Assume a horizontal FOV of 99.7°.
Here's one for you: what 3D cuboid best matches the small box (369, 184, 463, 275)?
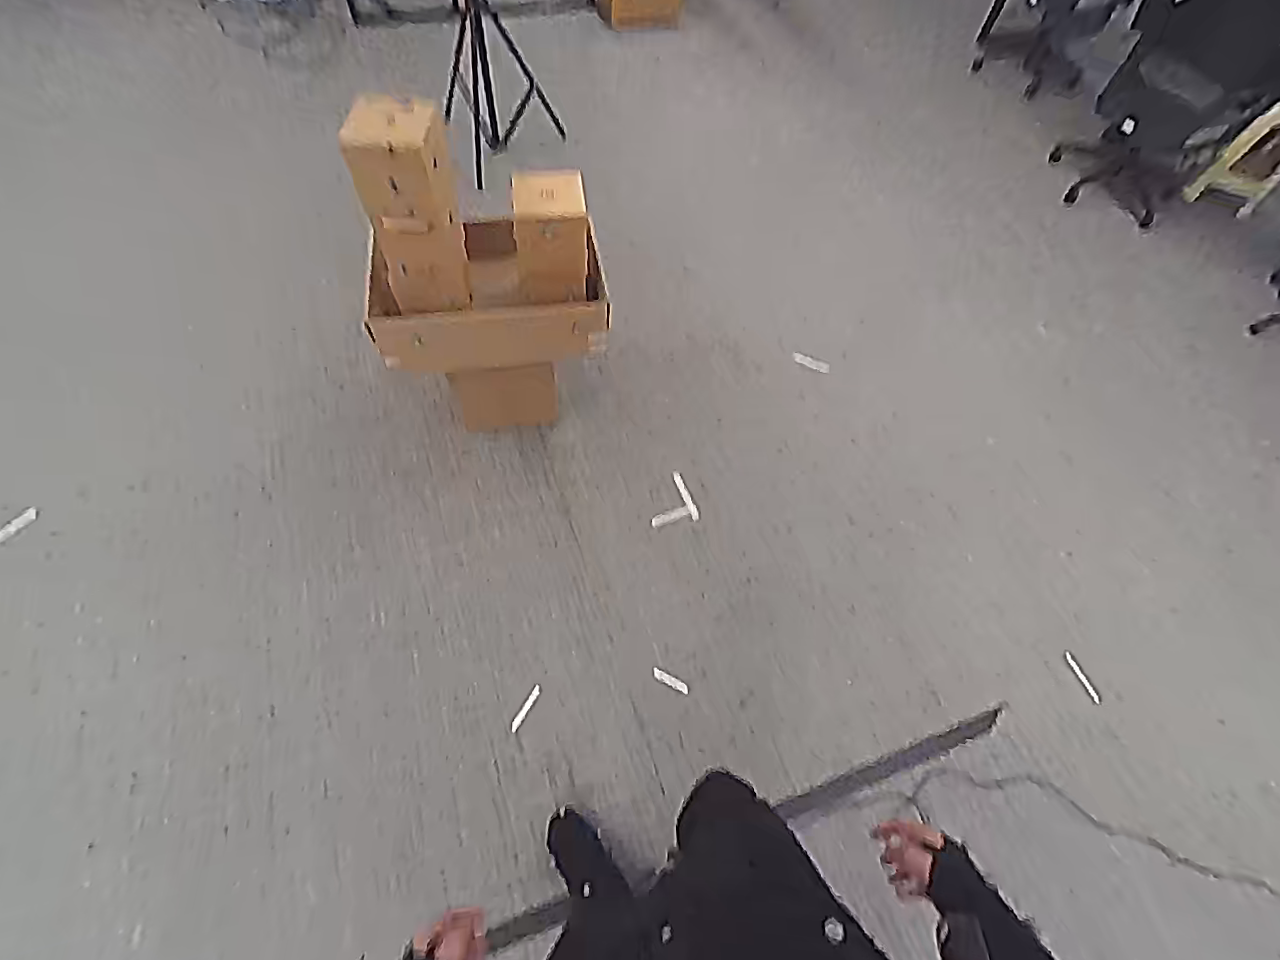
[{"bbox_3d":[-0.544,-0.628,1.337,0.168,0.176,0.179,-1,60,-5],"label":"small box"}]

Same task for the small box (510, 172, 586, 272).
[{"bbox_3d":[-0.231,-0.655,1.379,0.179,0.176,0.168,-6,61,-7],"label":"small box"}]

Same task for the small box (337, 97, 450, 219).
[{"bbox_3d":[-0.530,-0.704,1.192,0.168,0.176,0.179,2,61,-4],"label":"small box"}]
